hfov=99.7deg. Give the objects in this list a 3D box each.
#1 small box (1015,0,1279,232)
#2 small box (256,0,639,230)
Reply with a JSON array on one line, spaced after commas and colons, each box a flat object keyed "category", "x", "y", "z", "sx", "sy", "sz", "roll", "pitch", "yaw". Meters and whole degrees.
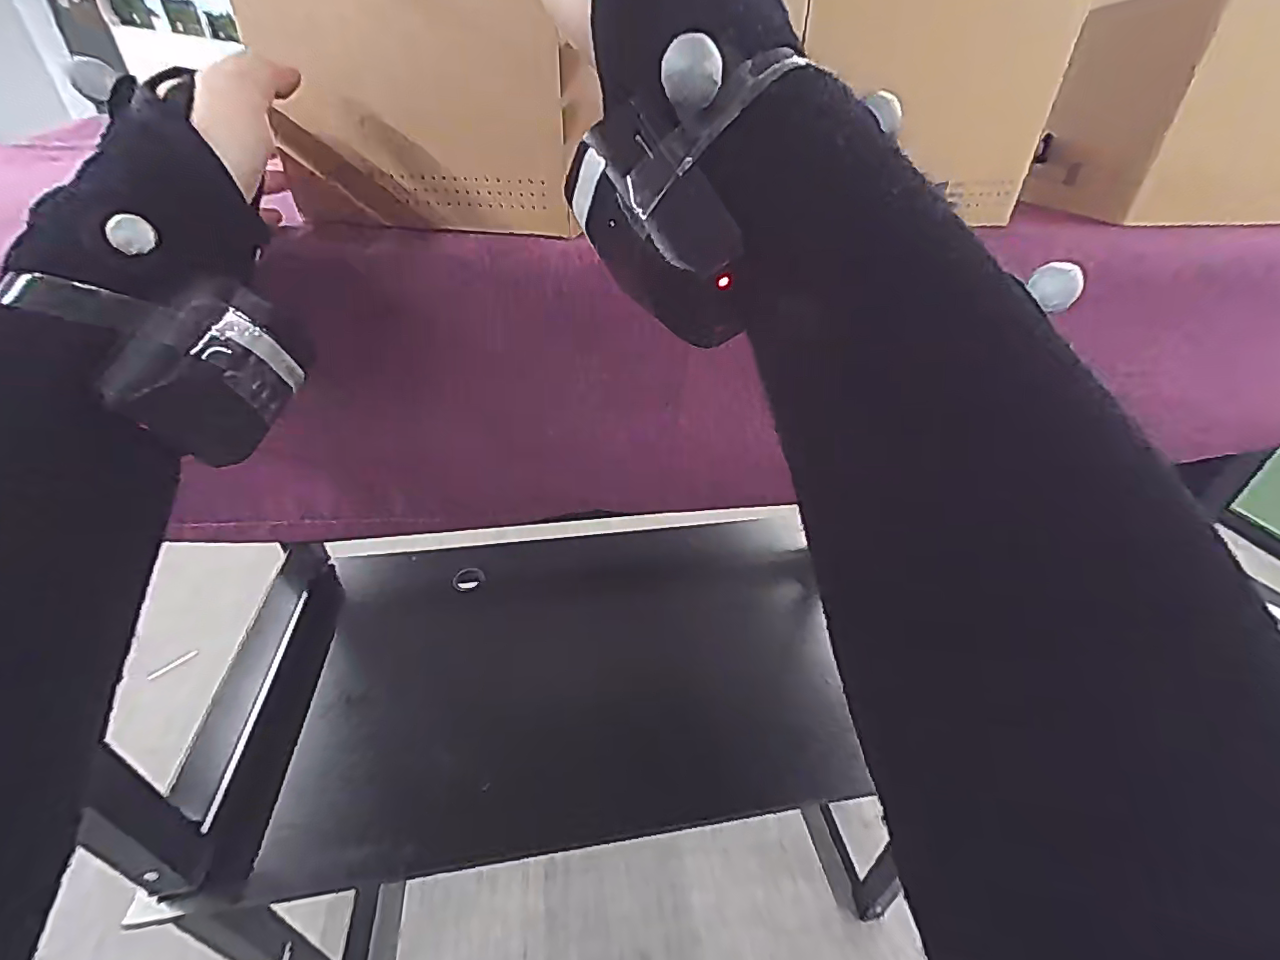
[{"category": "small box", "x": 0.407, "y": -0.283, "z": 0.386, "sx": 0.179, "sy": 0.176, "sz": 0.168, "roll": -2, "pitch": 35, "yaw": -4}, {"category": "small box", "x": -0.102, "y": -0.258, "z": 0.330, "sx": 0.179, "sy": 0.176, "sz": 0.168, "roll": 8, "pitch": 37, "yaw": 8}]
